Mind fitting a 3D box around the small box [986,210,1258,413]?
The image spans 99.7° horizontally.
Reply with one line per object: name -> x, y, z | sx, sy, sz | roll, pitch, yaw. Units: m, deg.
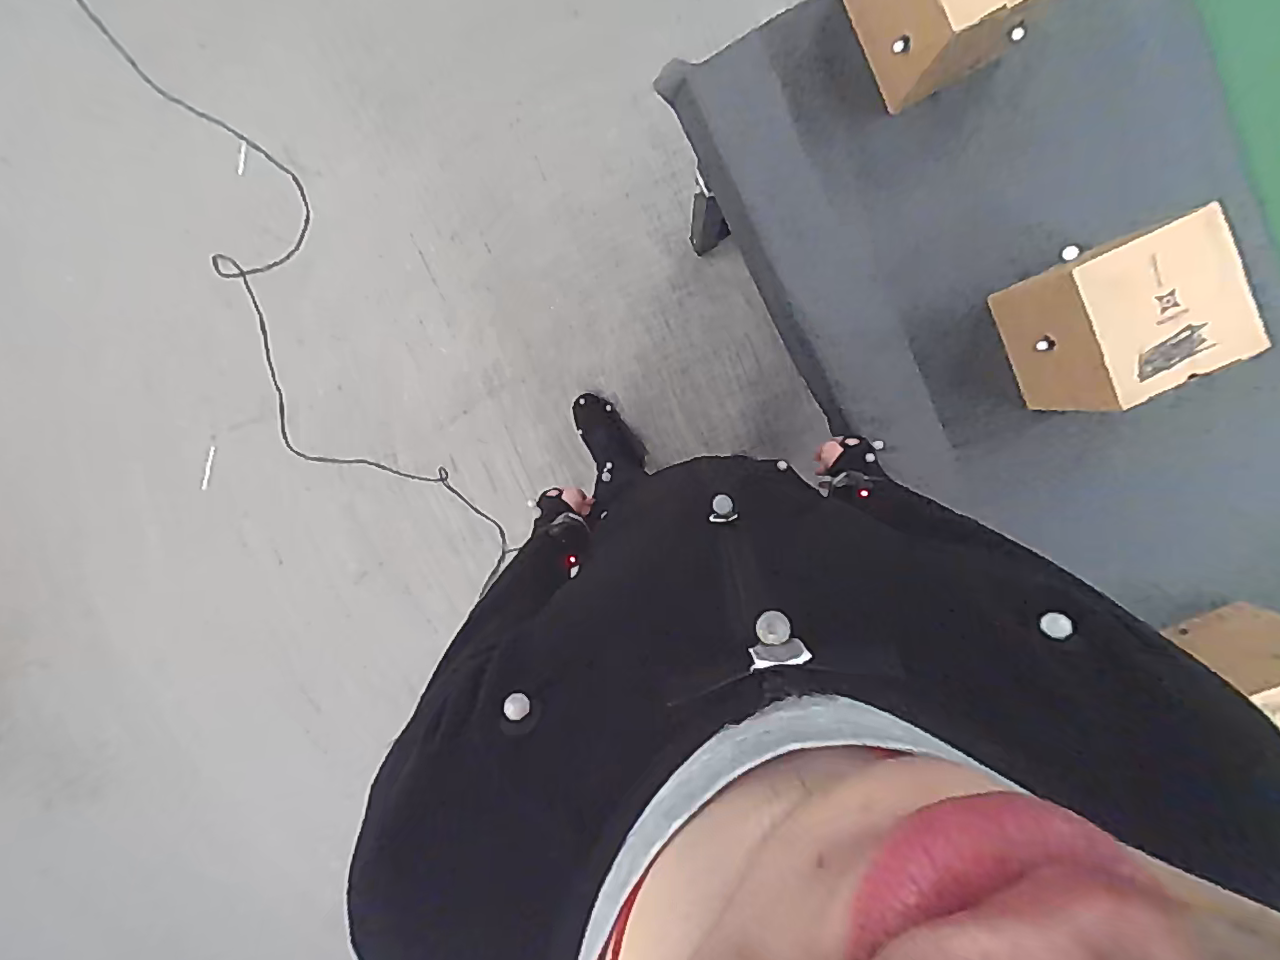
small box -> 0.587, -0.197, 0.683 | 0.168, 0.176, 0.179 | -24, 96, 4

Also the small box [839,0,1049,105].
small box -> 0.366, -0.589, 0.636 | 0.168, 0.176, 0.179 | -27, 95, 4
